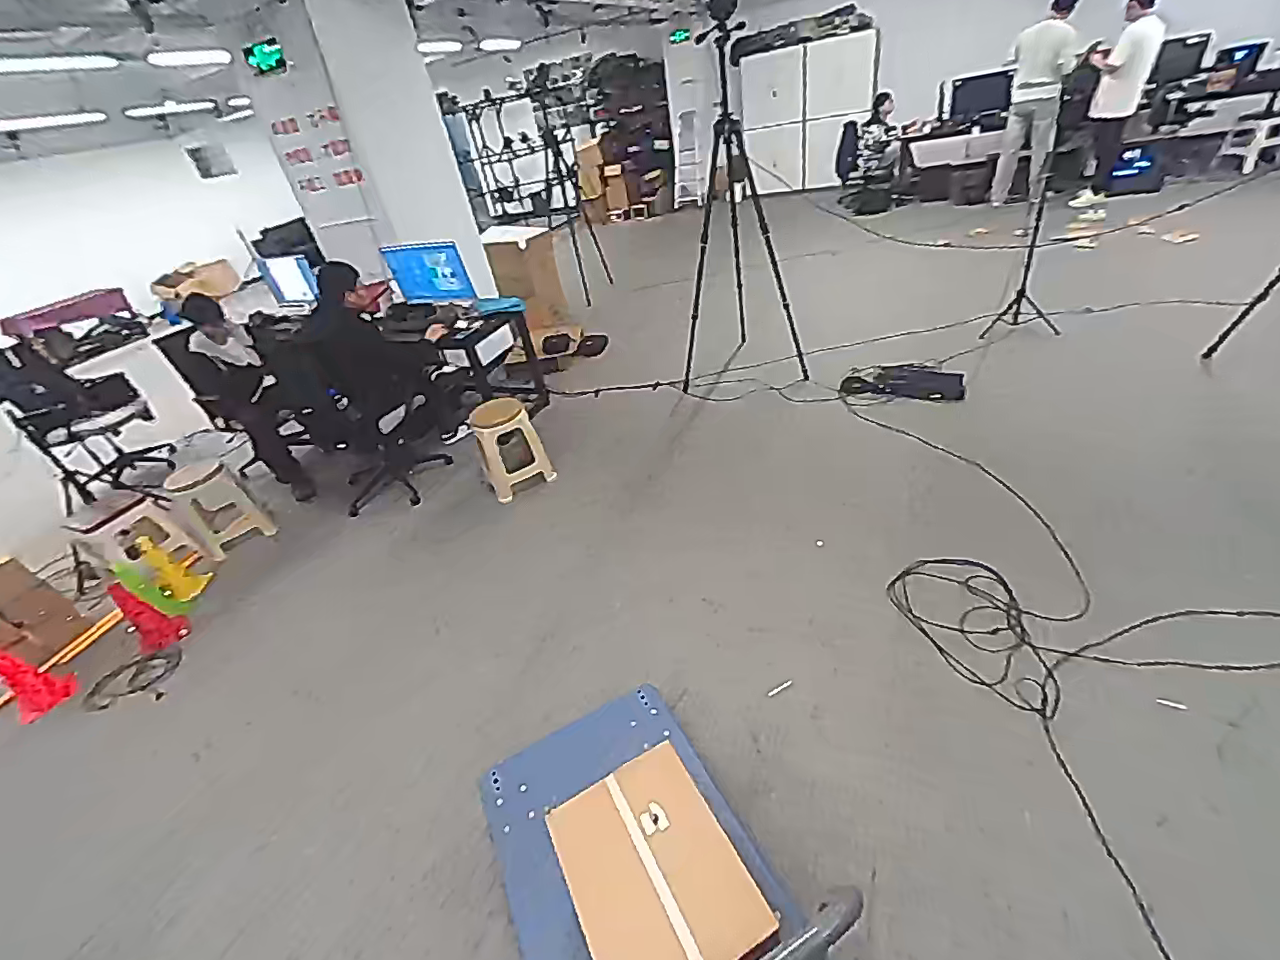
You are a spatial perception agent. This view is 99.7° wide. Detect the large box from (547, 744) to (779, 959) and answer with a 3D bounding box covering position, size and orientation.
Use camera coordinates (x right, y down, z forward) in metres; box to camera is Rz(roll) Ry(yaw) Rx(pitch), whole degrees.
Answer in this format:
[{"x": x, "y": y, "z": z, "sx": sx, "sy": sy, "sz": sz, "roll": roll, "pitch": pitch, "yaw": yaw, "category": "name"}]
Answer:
[{"x": 0.047, "y": 0.880, "z": 1.149, "sx": 0.320, "sy": 0.320, "sz": 0.408, "roll": -23, "pitch": 35, "yaw": -17, "category": "large box"}]
